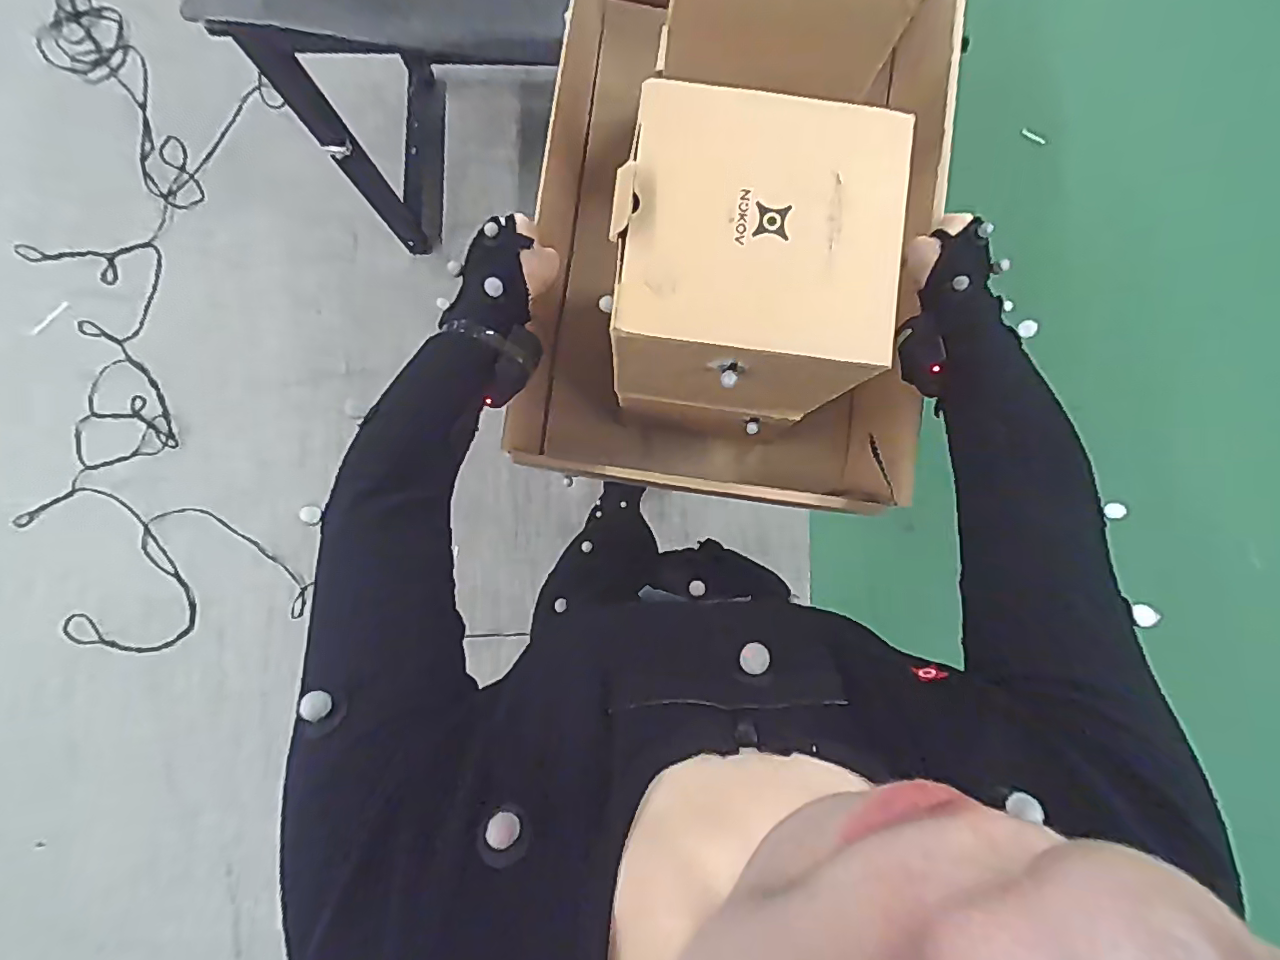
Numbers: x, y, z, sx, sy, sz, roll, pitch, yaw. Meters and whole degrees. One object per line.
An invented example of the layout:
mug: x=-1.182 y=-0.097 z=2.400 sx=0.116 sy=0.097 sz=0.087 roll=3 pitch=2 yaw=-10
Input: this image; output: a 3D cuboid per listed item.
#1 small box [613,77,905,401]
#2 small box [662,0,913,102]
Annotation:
small box: x=0.075 y=-0.165 z=0.425 sx=0.179 sy=0.176 sz=0.168 roll=7 pitch=87 yaw=-2
small box: x=0.112 y=-0.414 z=0.434 sx=0.168 sy=0.176 sz=0.179 roll=9 pitch=90 yaw=-2
